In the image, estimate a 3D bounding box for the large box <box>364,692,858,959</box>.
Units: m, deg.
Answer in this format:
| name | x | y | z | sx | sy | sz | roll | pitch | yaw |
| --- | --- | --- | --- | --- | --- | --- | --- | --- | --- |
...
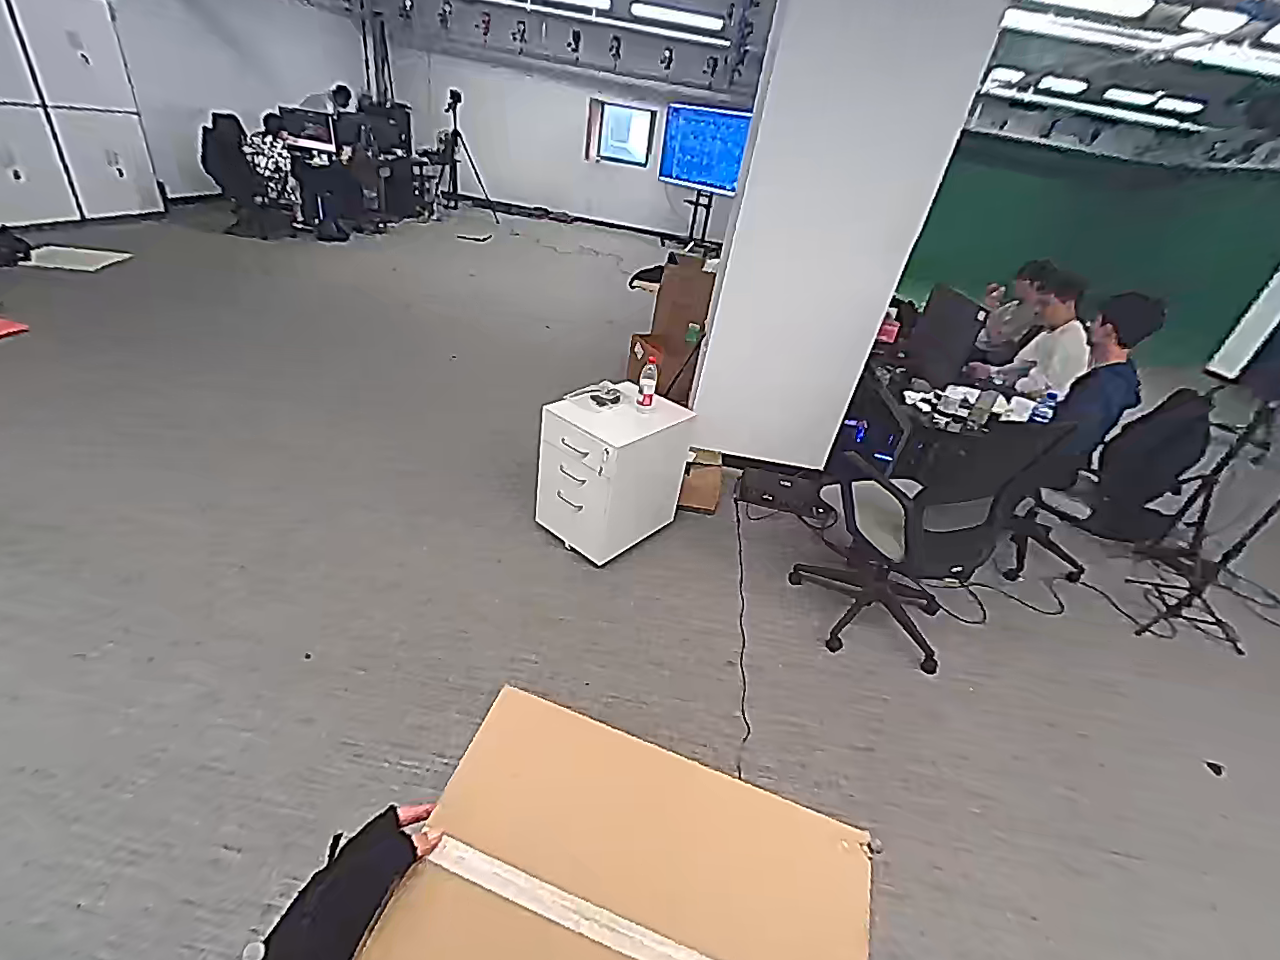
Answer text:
| name | x | y | z | sx | sy | sz | roll | pitch | yaw |
| --- | --- | --- | --- | --- | --- | --- | --- | --- | --- |
| large box | -0.031 | 0.499 | 0.579 | 0.408 | 0.320 | 0.320 | 19 | 45 | 9 |
